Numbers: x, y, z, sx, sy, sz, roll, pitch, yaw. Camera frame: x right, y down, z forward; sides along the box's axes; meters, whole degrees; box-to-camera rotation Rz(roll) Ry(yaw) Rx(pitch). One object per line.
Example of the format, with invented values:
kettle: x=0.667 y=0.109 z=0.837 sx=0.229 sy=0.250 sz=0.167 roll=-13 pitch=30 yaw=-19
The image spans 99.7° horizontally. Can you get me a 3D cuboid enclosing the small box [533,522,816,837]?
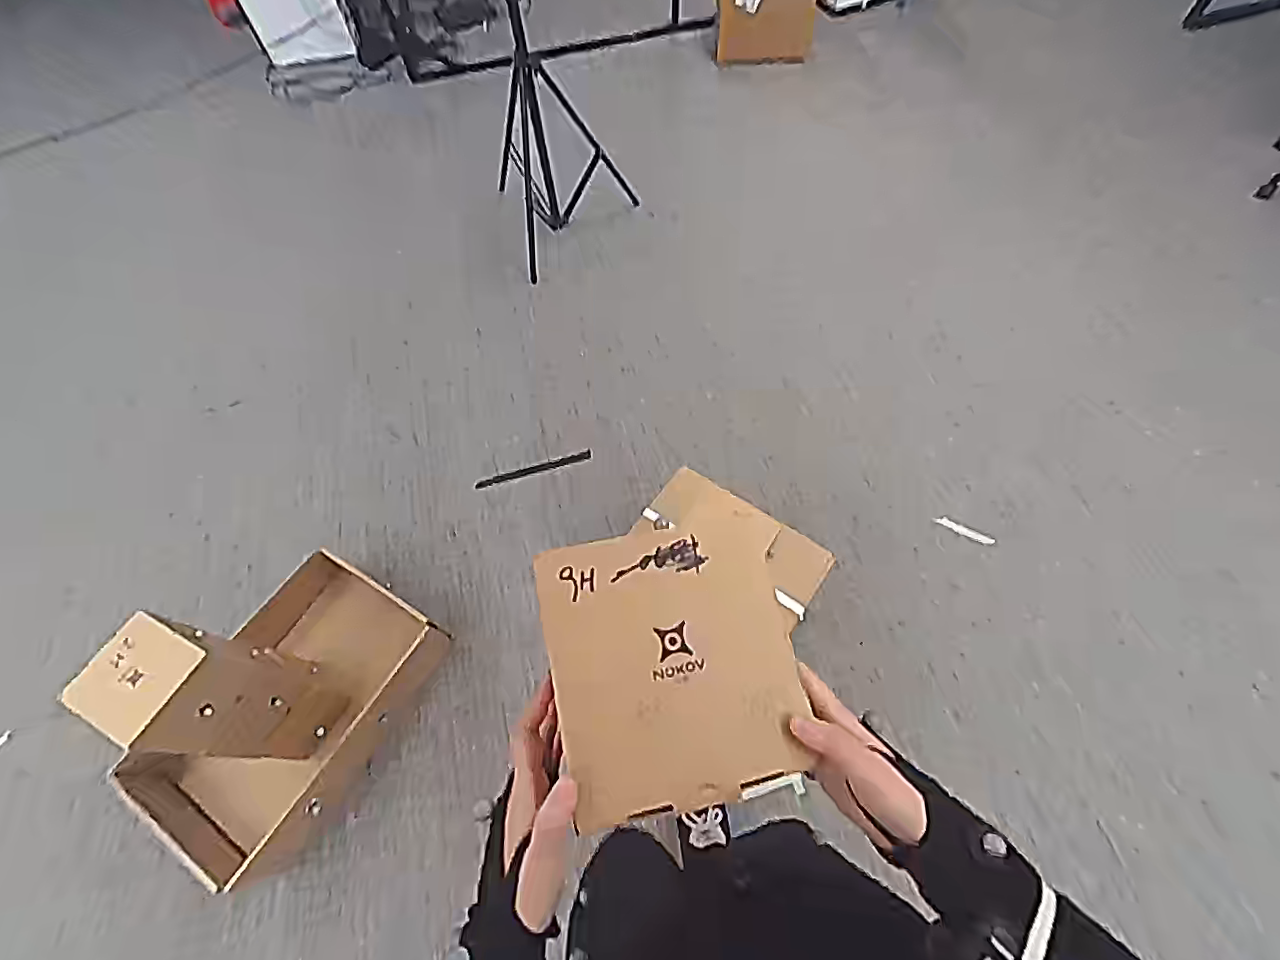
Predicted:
small box: x=0.012 y=0.149 z=0.441 sx=0.168 sy=0.176 sz=0.179 roll=-10 pitch=72 yaw=-11

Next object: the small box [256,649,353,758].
small box: x=-0.820 y=0.525 z=1.258 sx=0.179 sy=0.176 sz=0.168 roll=27 pitch=67 yaw=16

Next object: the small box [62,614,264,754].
small box: x=-0.836 y=0.369 z=0.971 sx=0.179 sy=0.176 sz=0.168 roll=23 pitch=63 yaw=14

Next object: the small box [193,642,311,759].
small box: x=-0.833 y=0.452 z=1.114 sx=0.179 sy=0.176 sz=0.168 roll=22 pitch=64 yaw=16
